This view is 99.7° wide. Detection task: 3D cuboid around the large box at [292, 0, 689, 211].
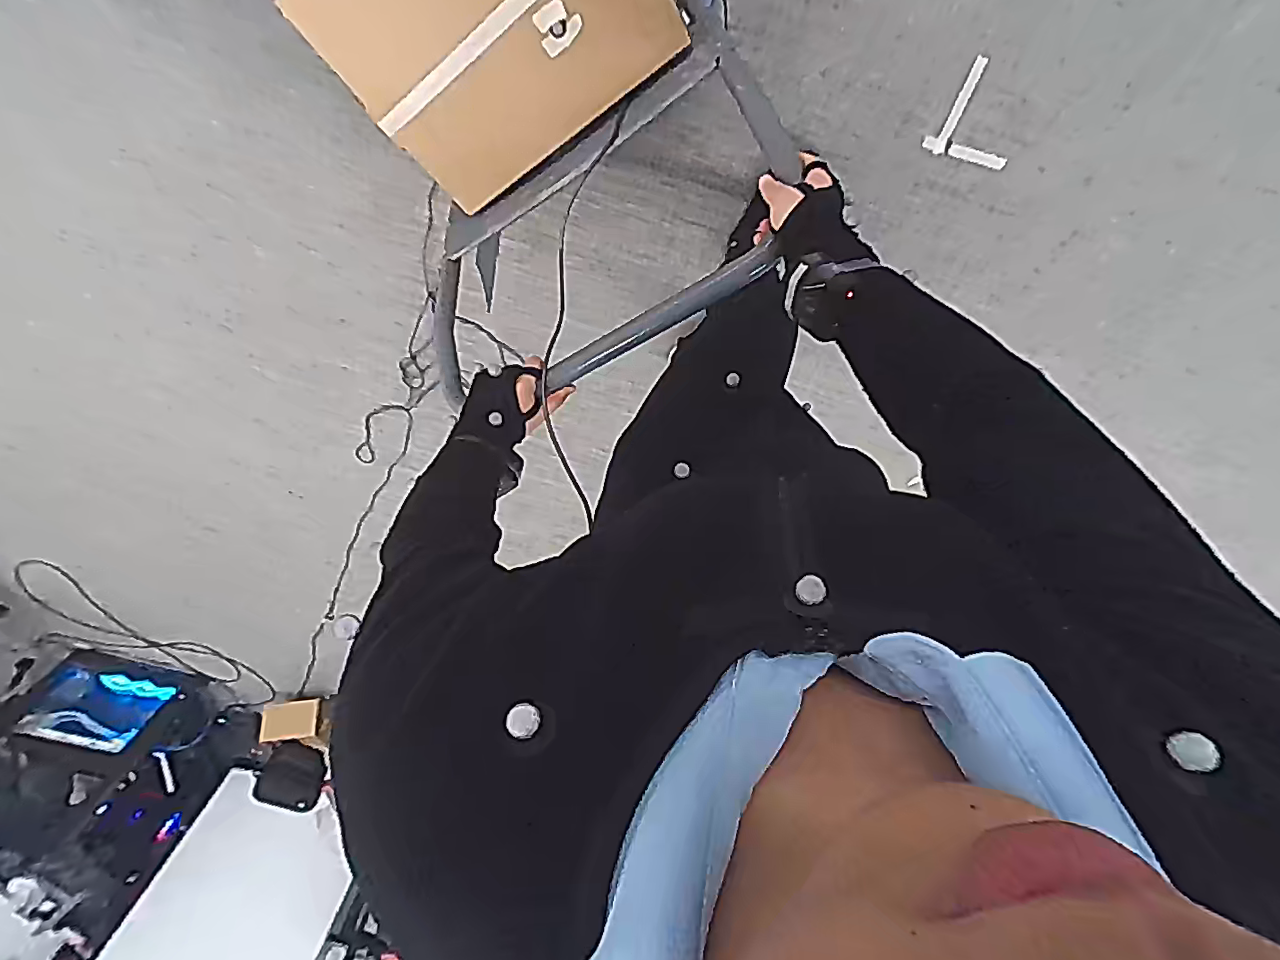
[{"bbox_3d":[-0.194,-0.693,0.774,0.408,0.320,0.320,-26,139,22],"label":"large box"}]
